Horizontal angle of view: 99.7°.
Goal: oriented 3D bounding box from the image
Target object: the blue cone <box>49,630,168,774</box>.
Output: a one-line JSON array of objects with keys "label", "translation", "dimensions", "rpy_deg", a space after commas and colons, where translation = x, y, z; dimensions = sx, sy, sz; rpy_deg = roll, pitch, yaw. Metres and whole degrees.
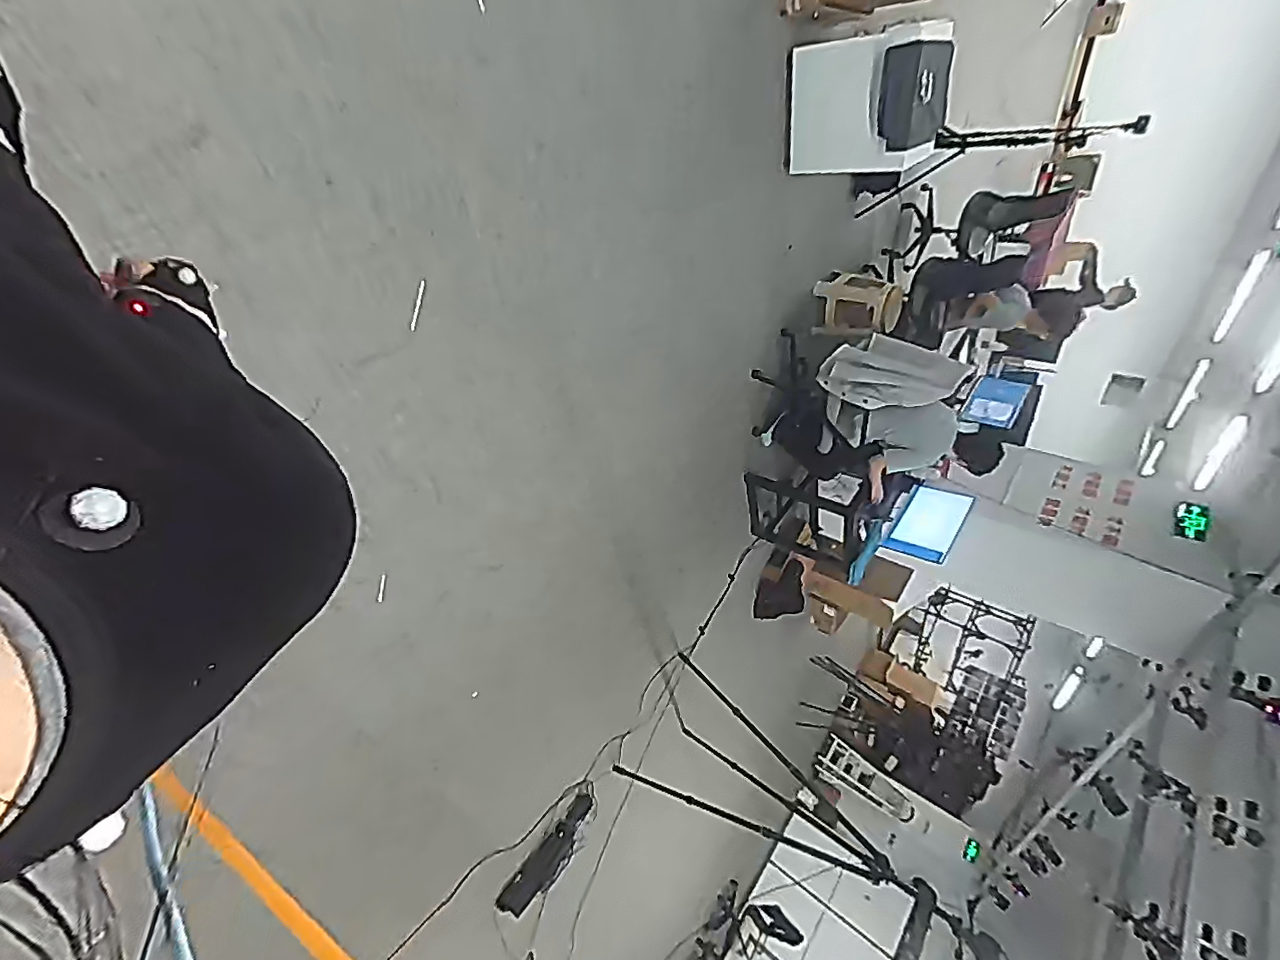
[{"label": "blue cone", "translation": [-1.080, 0.486, 1.143], "dimensions": [0.193, 0.380, 0.192], "rpy_deg": [8, 101, -55]}]
